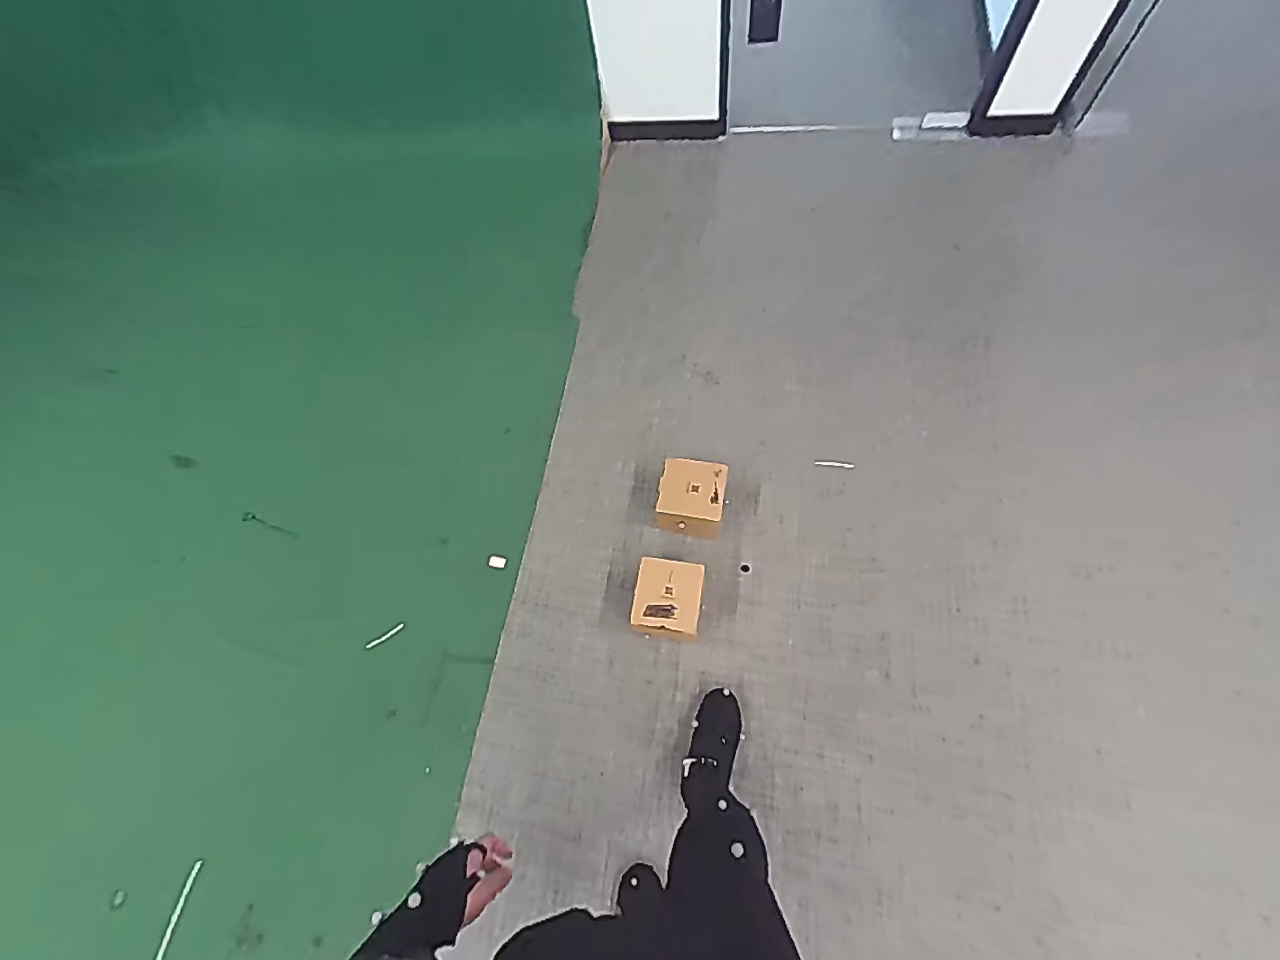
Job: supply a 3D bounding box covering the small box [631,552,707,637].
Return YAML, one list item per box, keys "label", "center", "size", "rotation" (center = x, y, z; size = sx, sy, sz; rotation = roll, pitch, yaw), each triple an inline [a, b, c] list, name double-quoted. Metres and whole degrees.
- label: "small box"
  center: [0.083, 0.303, 1.407]
  size: [0.168, 0.176, 0.179]
  rotation: [7, 67, 10]

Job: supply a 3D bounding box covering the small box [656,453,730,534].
- label: "small box"
  center: [0.154, 0.041, 1.509]
  size: [0.179, 0.176, 0.168]
  rotation: [8, 69, 12]
